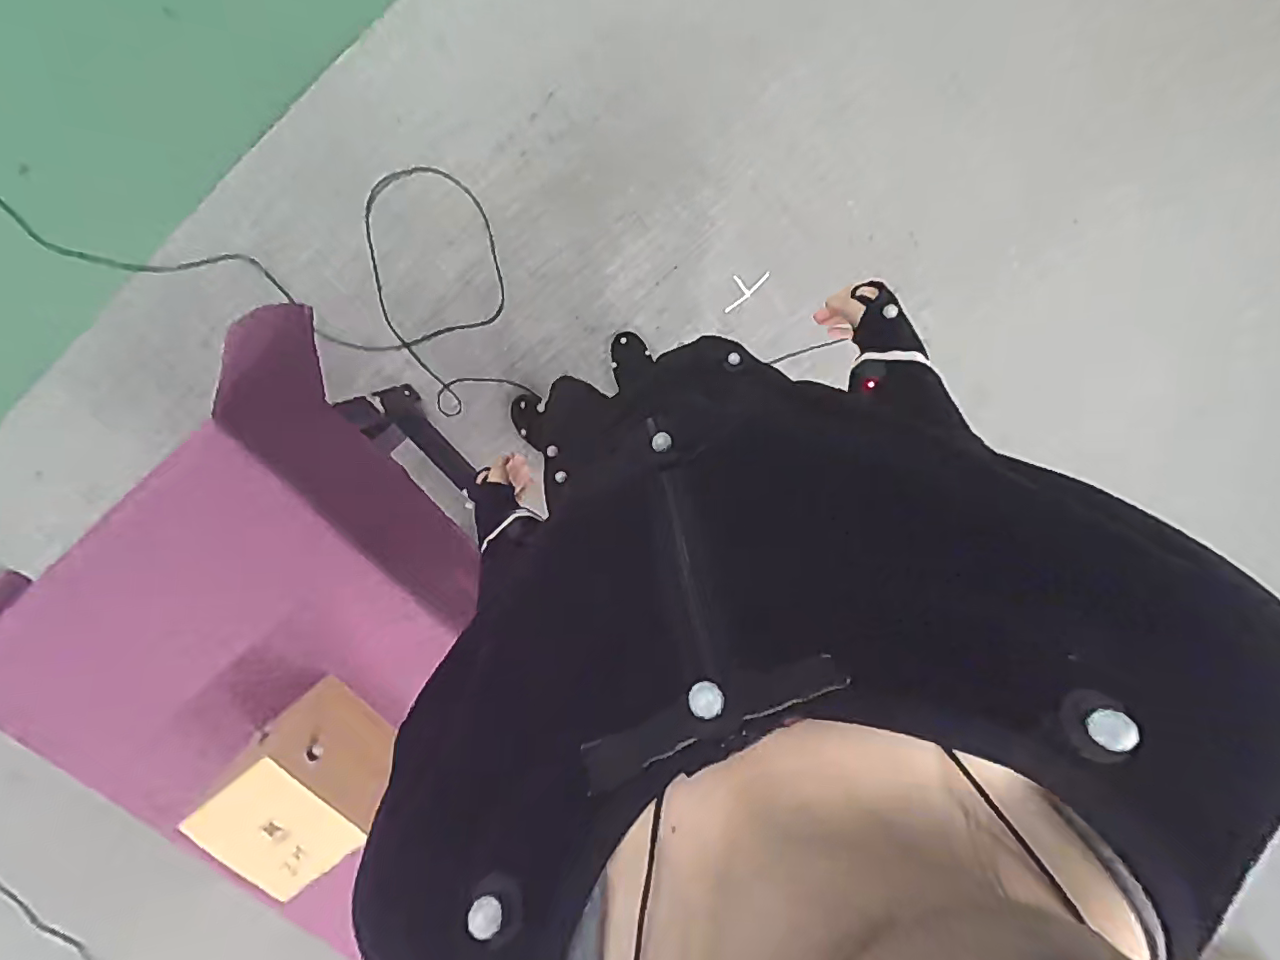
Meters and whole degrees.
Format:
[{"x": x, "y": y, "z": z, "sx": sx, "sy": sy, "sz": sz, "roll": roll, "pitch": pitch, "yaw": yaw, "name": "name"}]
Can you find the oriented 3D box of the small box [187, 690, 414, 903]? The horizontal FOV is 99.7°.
[{"x": -0.464, "y": 0.432, "z": 0.770, "sx": 0.168, "sy": 0.176, "sz": 0.179, "roll": -38, "pitch": 104, "yaw": 8, "name": "small box"}]
